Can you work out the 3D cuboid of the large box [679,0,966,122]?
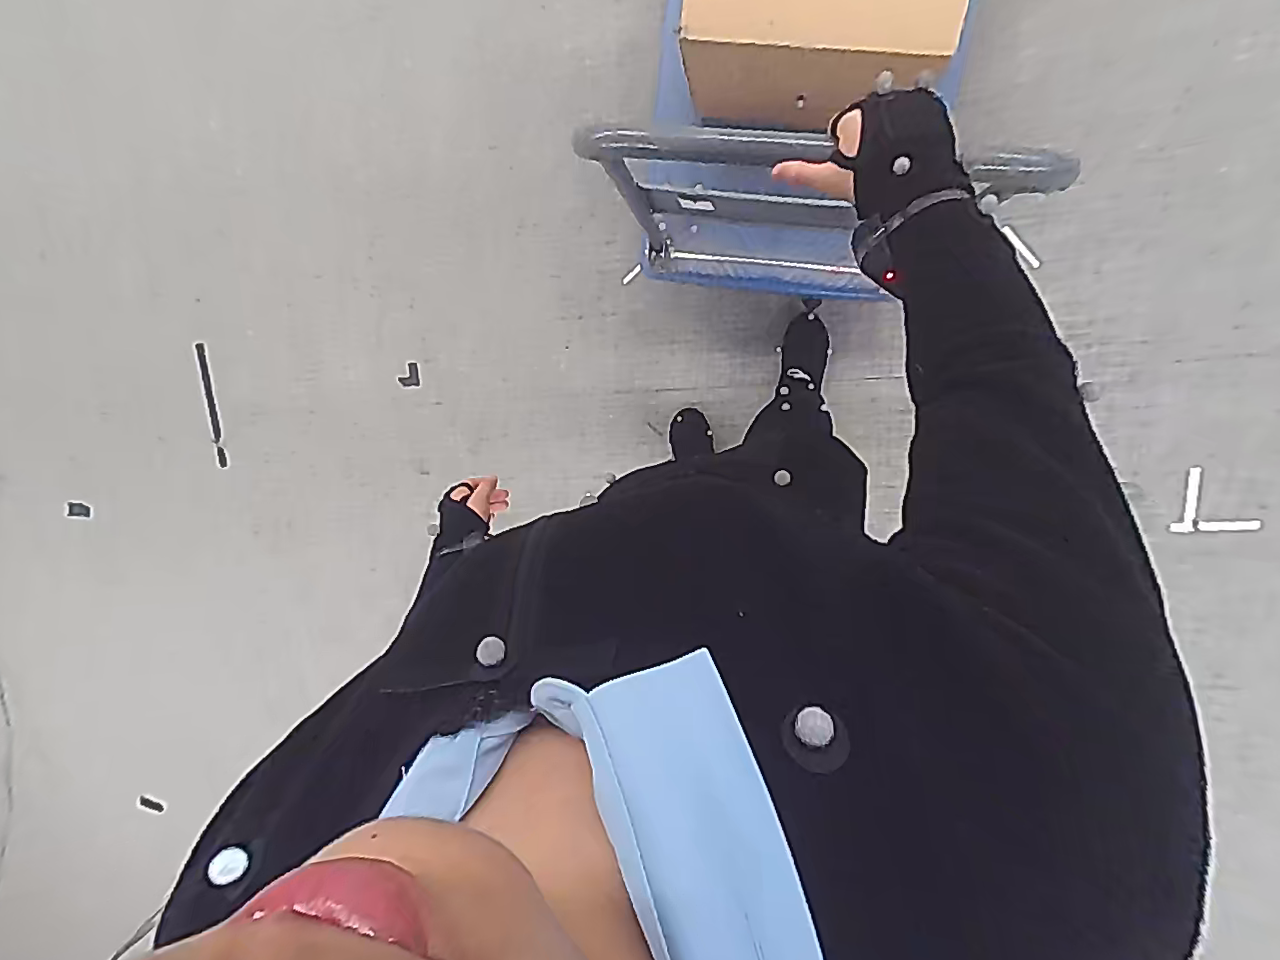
[{"bbox_3d":[0.301,-0.825,0.892,0.408,0.320,0.320,10,105,10],"label":"large box"}]
